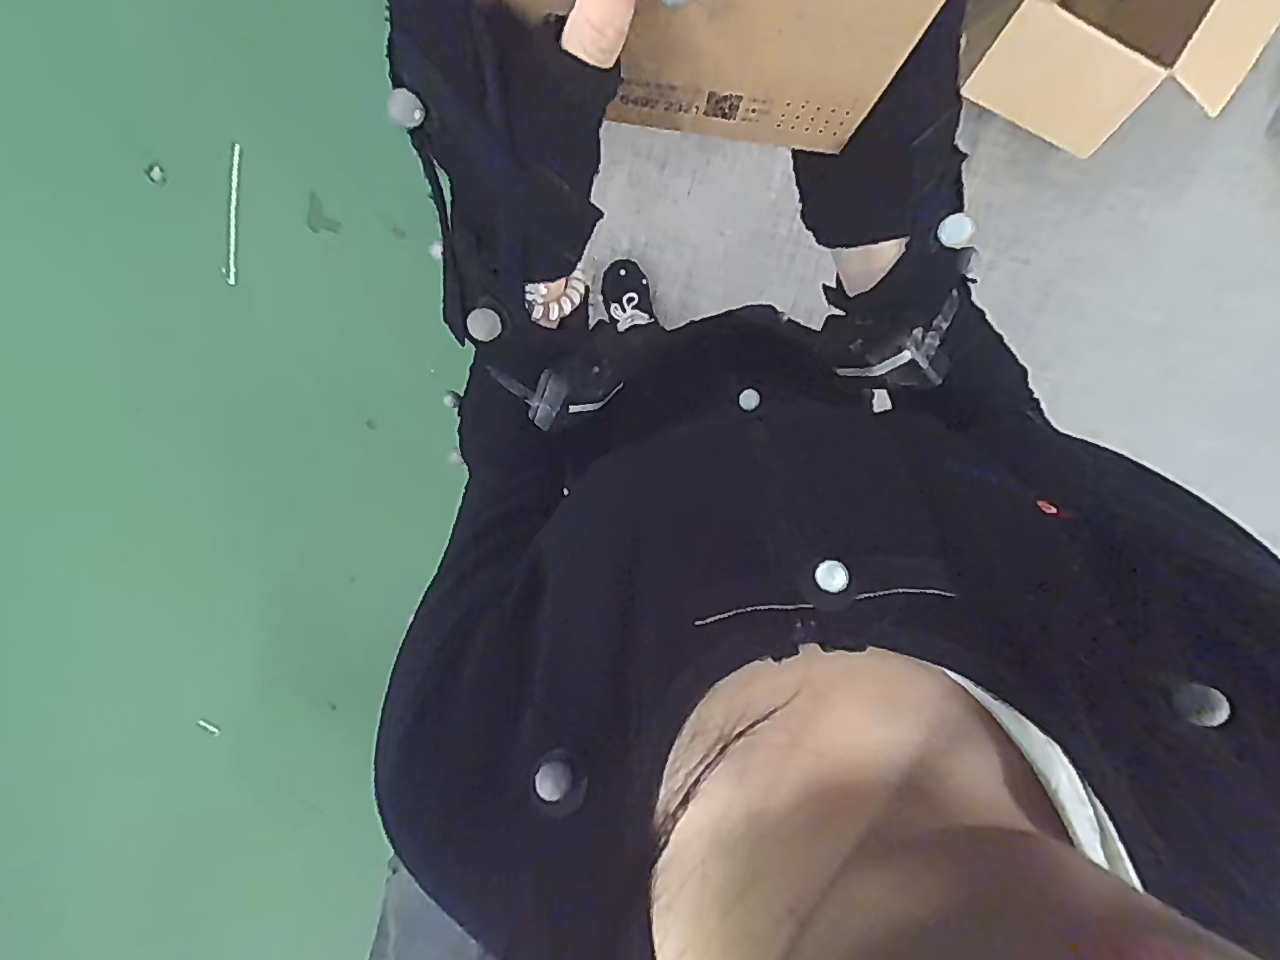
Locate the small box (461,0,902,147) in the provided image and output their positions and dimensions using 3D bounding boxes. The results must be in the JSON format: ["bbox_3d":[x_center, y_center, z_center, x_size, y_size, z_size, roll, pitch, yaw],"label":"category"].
[{"bbox_3d":[0.021,-0.249,0.178,0.168,0.176,0.179,7,88,-3],"label":"small box"}]
